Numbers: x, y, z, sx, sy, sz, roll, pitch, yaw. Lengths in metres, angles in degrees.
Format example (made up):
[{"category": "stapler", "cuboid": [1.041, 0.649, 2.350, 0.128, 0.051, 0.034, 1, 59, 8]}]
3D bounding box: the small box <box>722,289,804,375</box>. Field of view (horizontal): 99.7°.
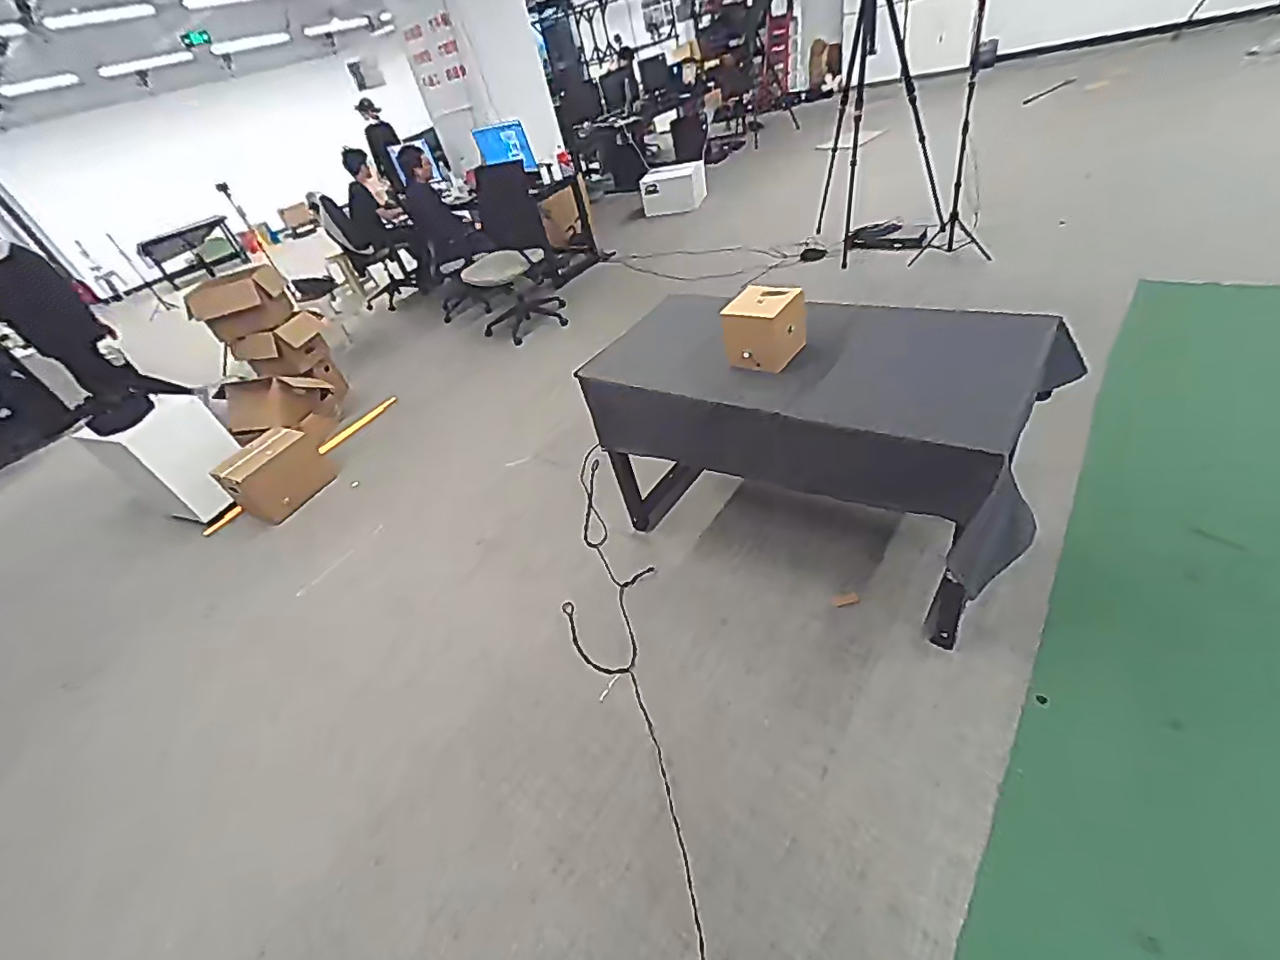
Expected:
[{"category": "small box", "cuboid": [0.351, -0.419, 1.525, 0.168, 0.176, 0.179, 18, 50, 36]}]
